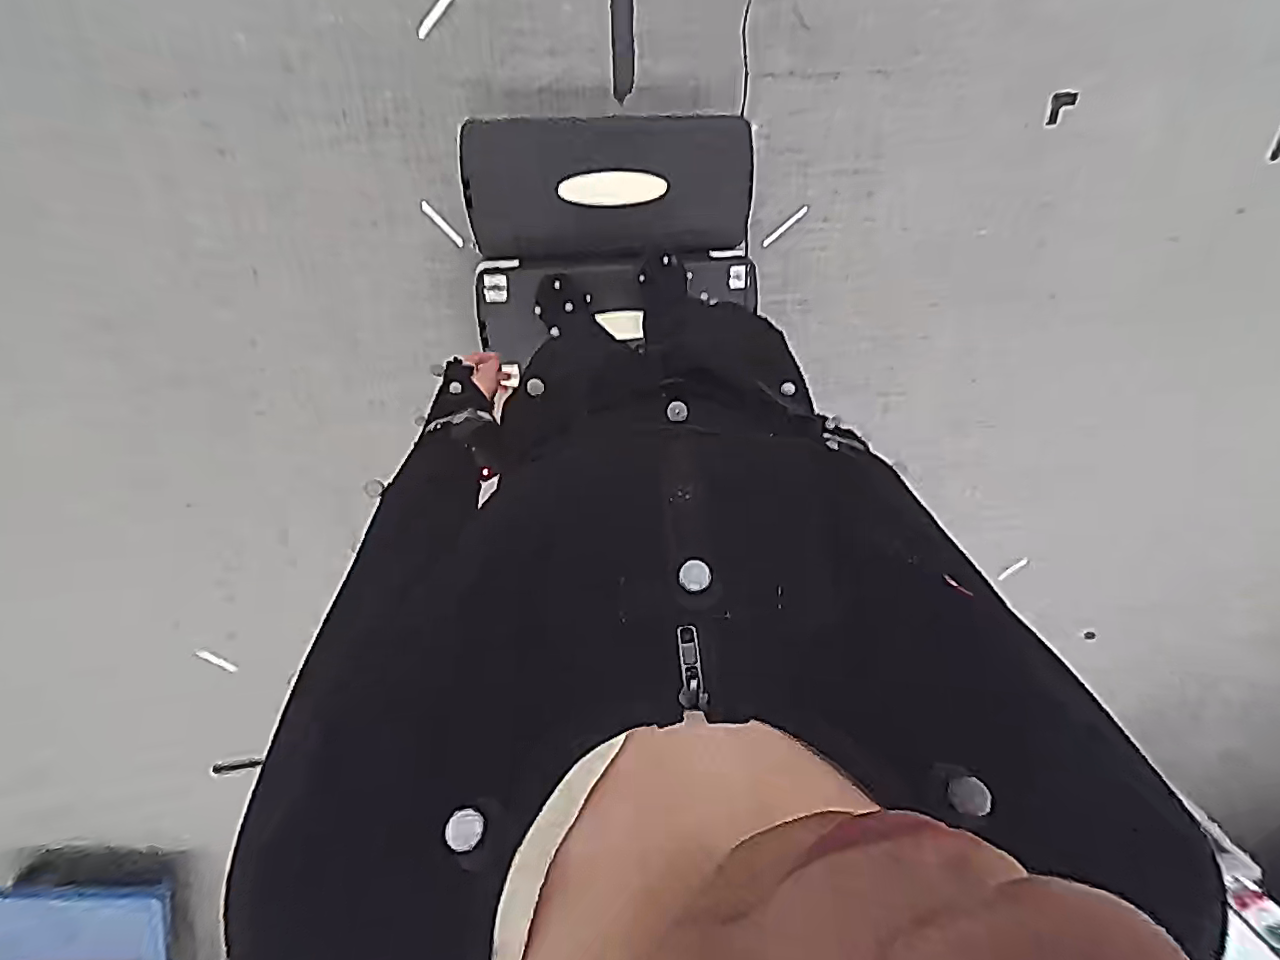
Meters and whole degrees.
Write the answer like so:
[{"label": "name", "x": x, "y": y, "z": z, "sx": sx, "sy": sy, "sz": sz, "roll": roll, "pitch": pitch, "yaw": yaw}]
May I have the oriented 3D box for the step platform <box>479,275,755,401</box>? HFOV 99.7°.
[{"label": "step platform", "x": -0.055, "y": -0.357, "z": 1.376, "sx": 0.684, "sy": 0.204, "sz": 0.286, "roll": -1, "pitch": 116, "yaw": -8}]
